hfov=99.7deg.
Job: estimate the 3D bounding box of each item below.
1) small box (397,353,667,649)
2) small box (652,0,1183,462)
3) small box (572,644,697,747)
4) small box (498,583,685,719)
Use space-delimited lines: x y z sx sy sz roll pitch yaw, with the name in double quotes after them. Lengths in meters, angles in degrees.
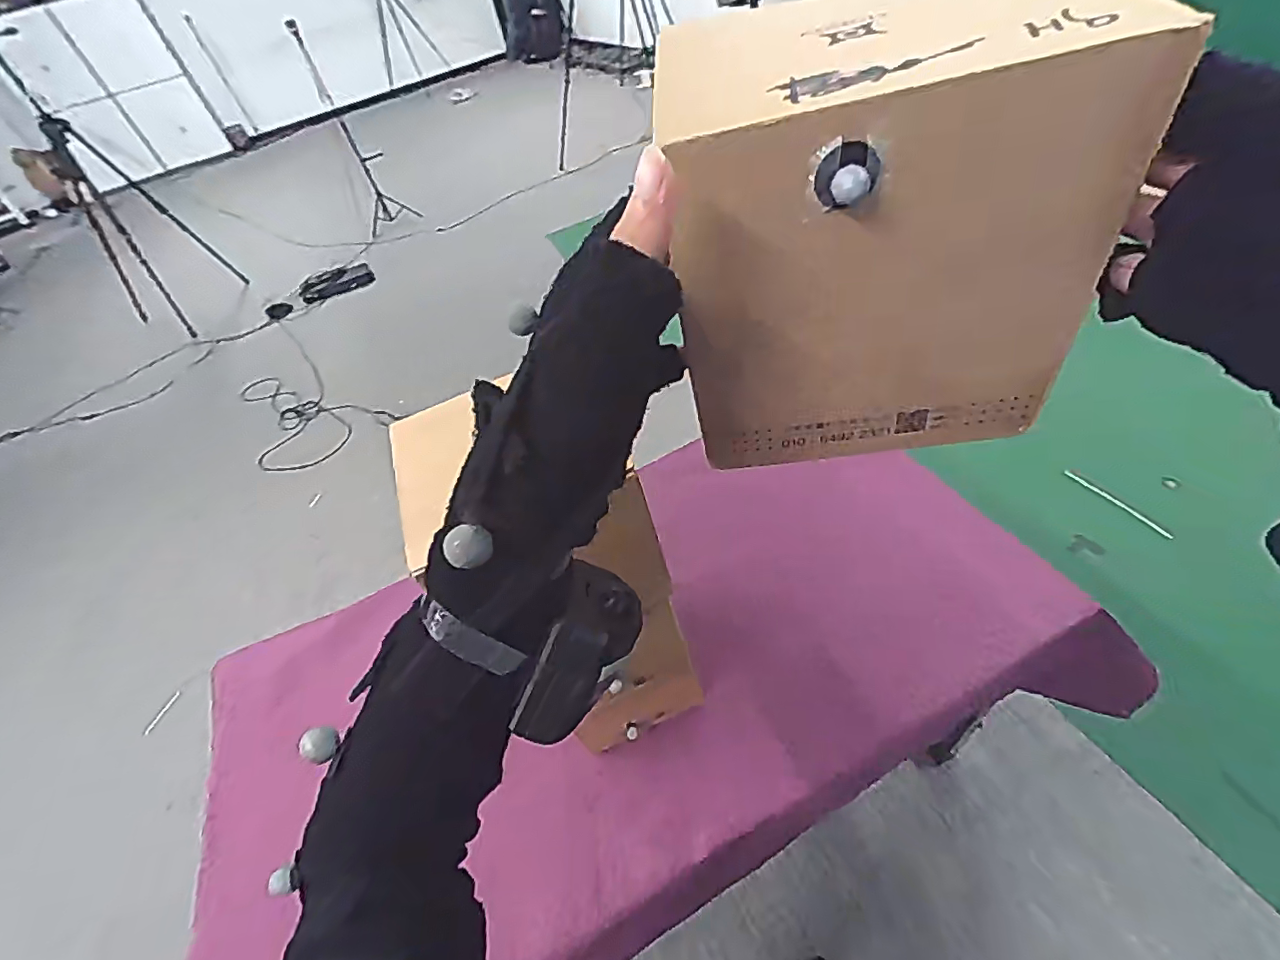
-0.090 0.025 0.480 0.168 0.176 0.179 -25 46 -7 "small box"
0.105 -0.133 0.290 0.168 0.176 0.179 -6 47 11 "small box"
-0.036 0.226 0.735 0.168 0.176 0.179 -24 47 -7 "small box"
-0.065 0.129 0.605 0.168 0.176 0.179 -25 47 -7 "small box"
